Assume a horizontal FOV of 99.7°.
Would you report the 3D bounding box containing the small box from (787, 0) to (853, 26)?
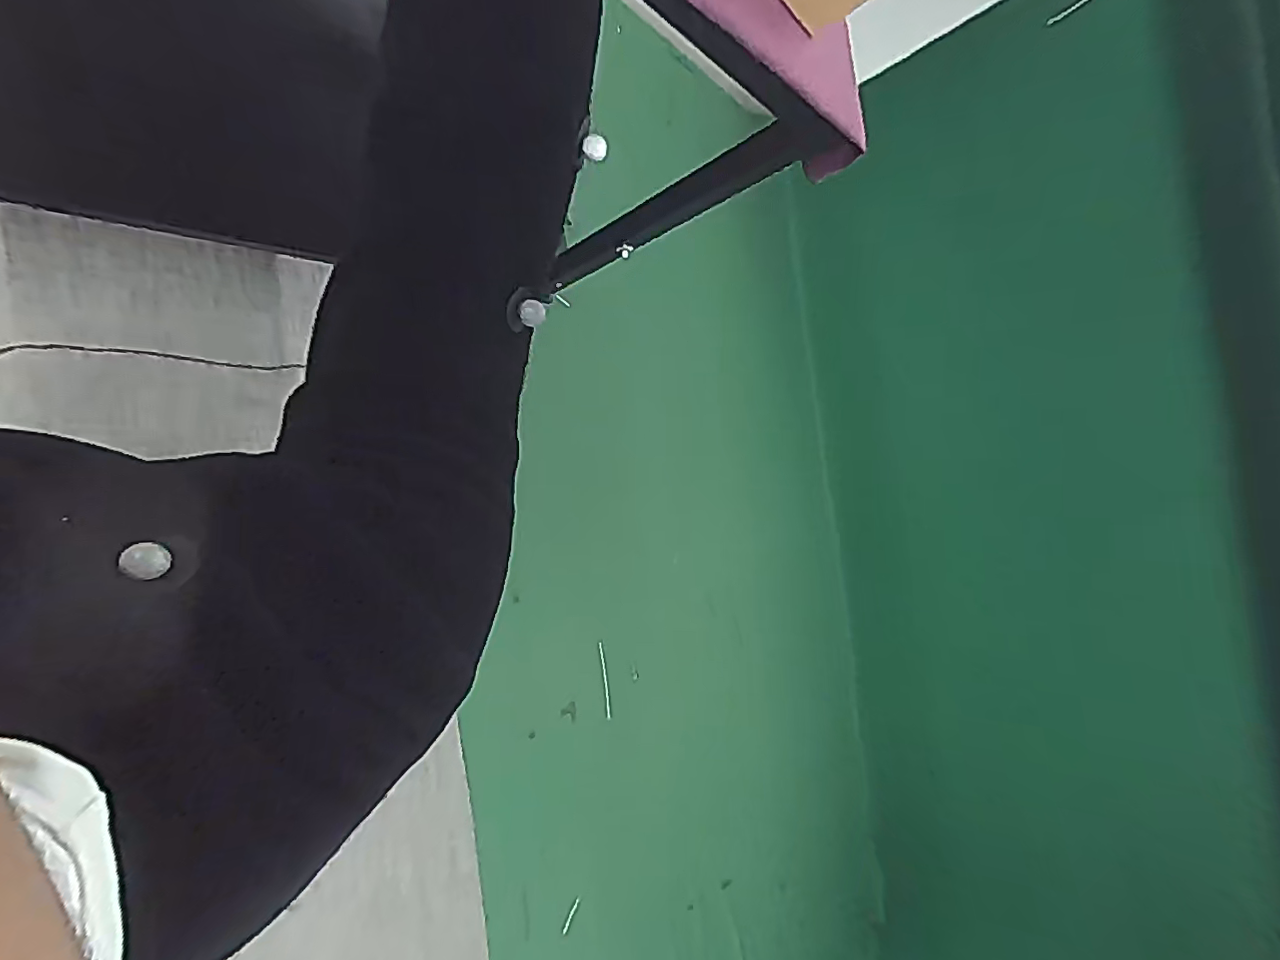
[{"bbox_3d":[0.212,-0.650,0.576,0.179,0.176,0.168,-7,88,-49],"label":"small box"}]
